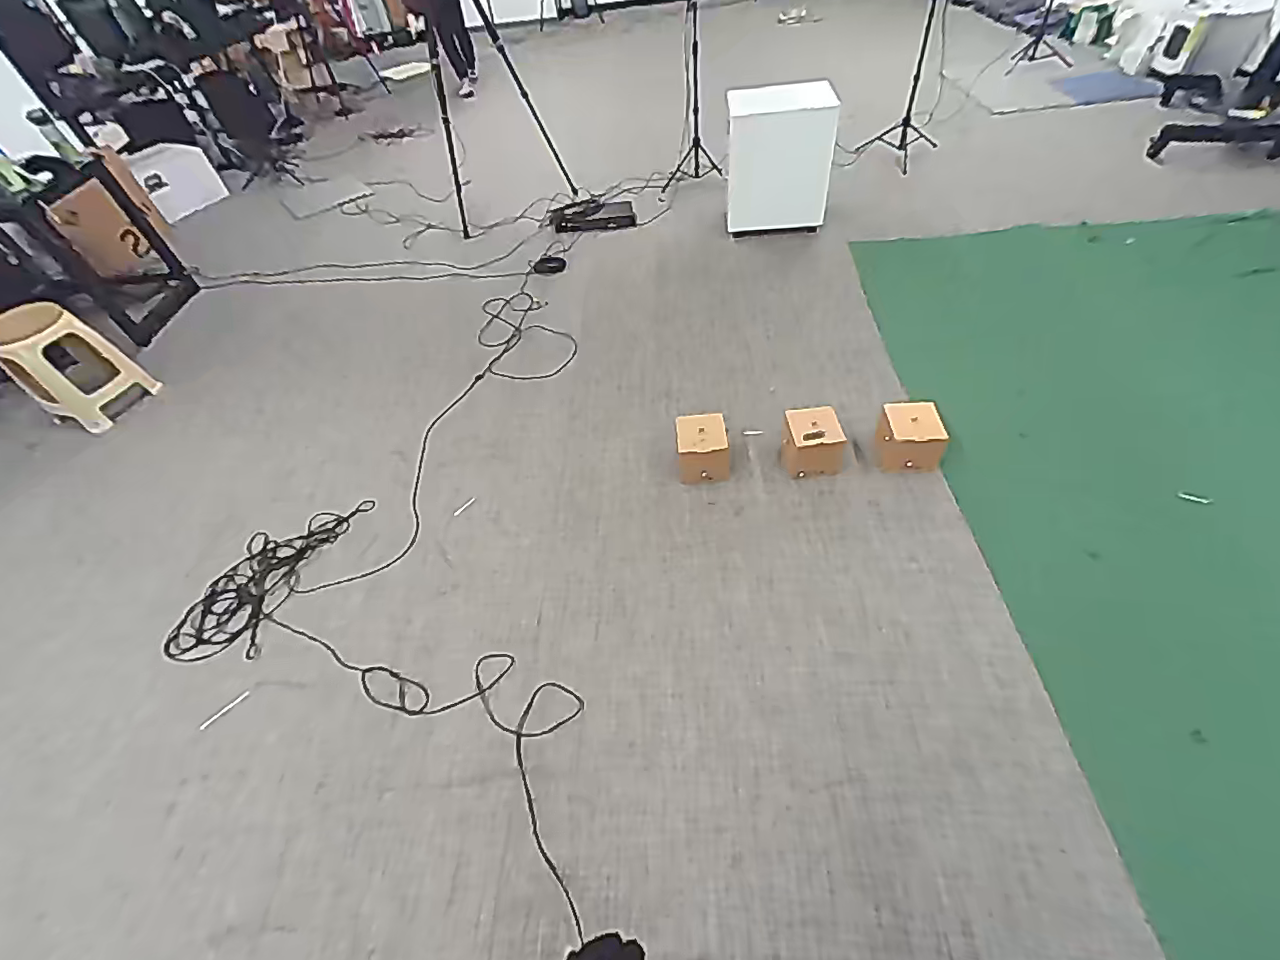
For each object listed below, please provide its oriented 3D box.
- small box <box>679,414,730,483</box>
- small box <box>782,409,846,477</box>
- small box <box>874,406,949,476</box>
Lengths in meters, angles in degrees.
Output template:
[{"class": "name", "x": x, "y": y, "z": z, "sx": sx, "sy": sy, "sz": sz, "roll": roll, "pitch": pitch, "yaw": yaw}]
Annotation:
[{"class": "small box", "x": 0.226, "y": -0.108, "z": 1.909, "sx": 0.168, "sy": 0.176, "sz": 0.179, "roll": -4, "pitch": 50, "yaw": 4}, {"class": "small box", "x": 0.599, "y": -0.122, "z": 1.880, "sx": 0.168, "sy": 0.176, "sz": 0.179, "roll": -5, "pitch": 49, "yaw": 2}, {"class": "small box", "x": 0.922, "y": -0.133, "z": 1.855, "sx": 0.168, "sy": 0.176, "sz": 0.179, "roll": -2, "pitch": 50, "yaw": 6}]
